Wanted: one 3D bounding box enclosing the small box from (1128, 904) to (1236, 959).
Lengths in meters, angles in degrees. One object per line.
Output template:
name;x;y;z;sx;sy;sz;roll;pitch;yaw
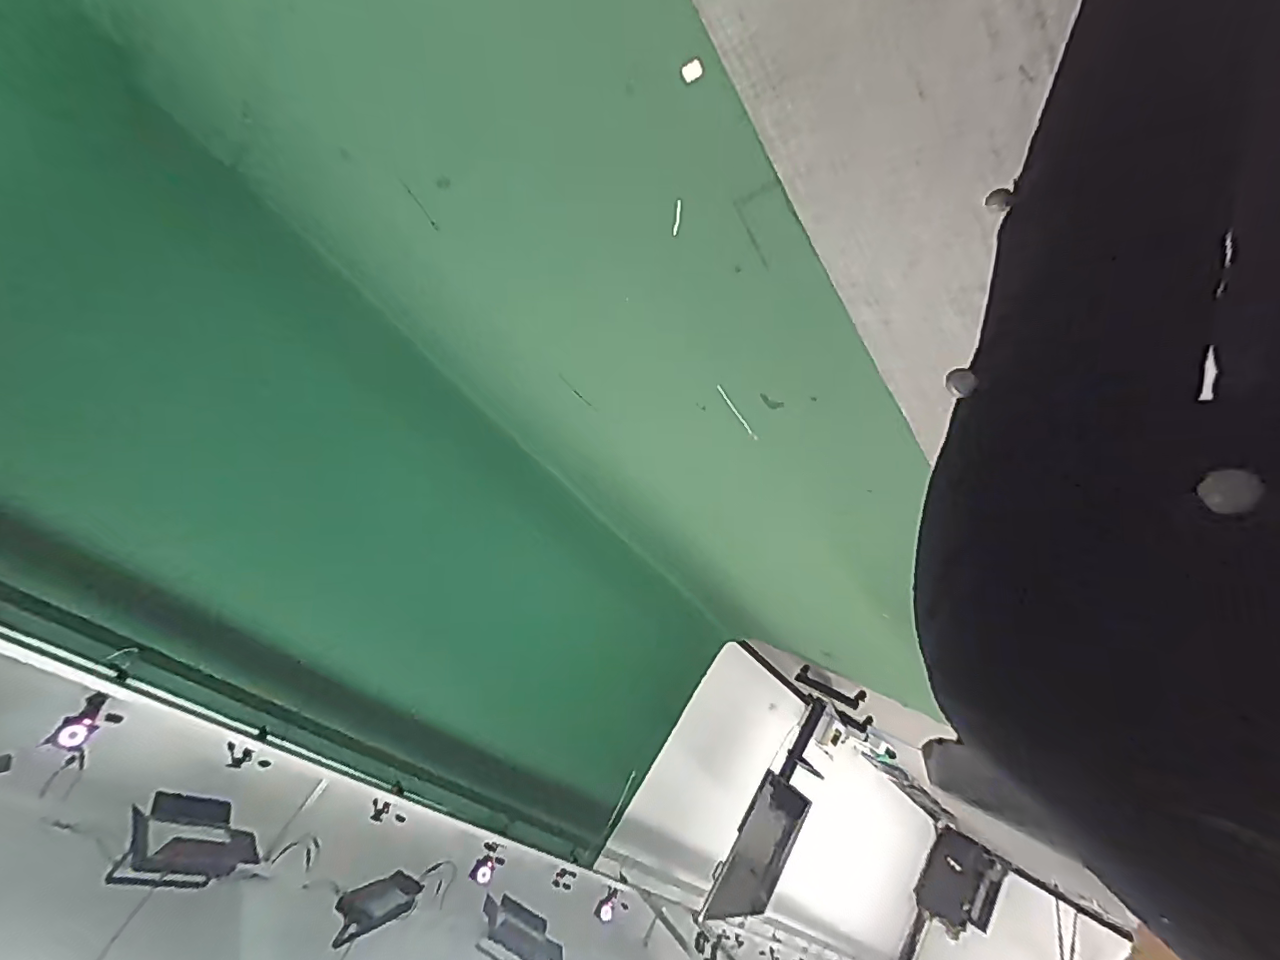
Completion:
small box;1.514;1.328;1.509;0.168;0.176;0.179;44;162;-30
